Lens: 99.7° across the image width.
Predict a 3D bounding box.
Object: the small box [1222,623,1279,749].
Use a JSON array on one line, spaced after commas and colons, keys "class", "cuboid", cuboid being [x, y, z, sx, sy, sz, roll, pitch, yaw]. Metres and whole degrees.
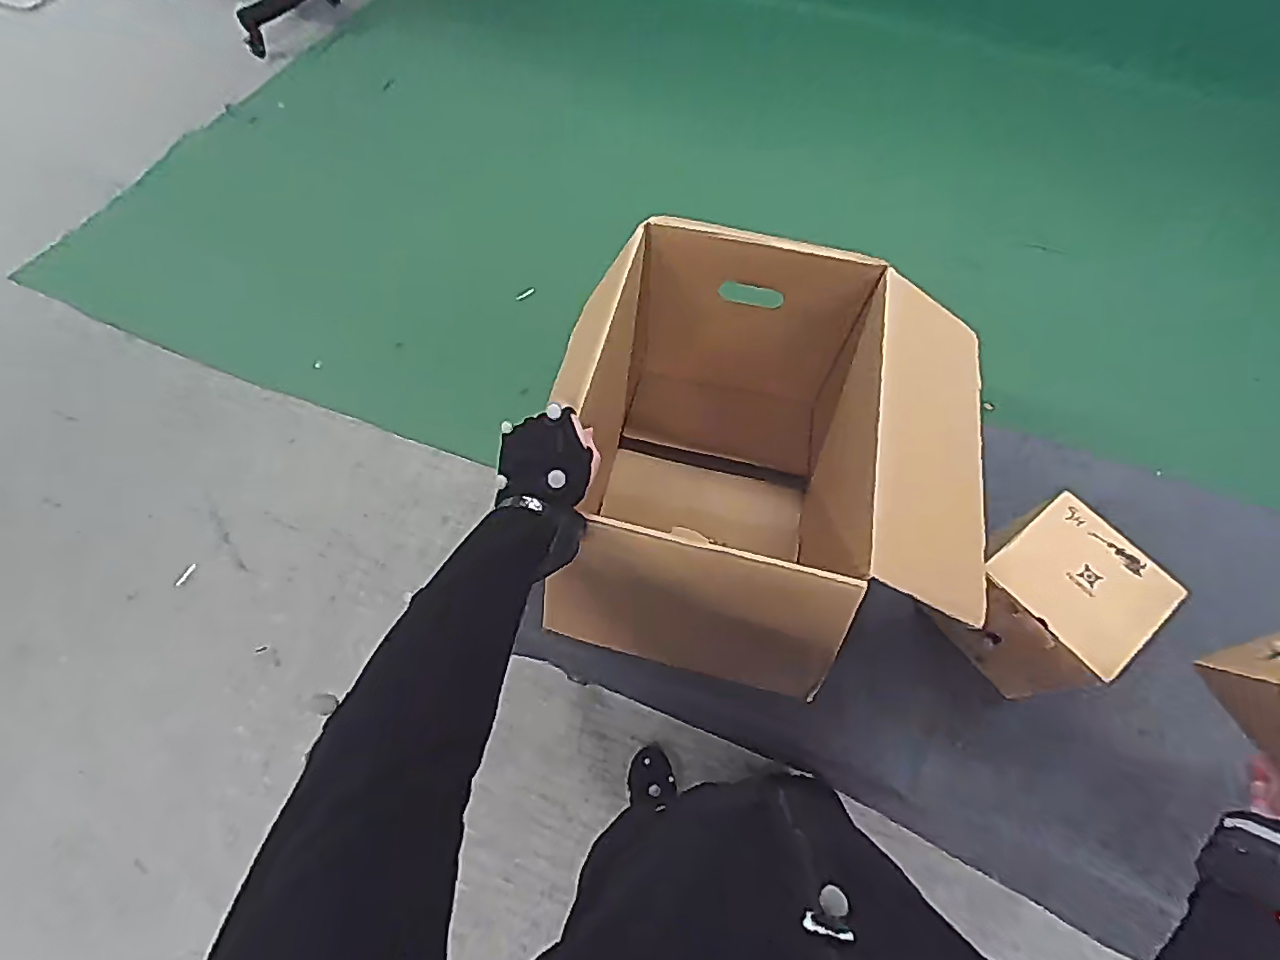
[{"class": "small box", "cuboid": [0.689, 0.207, 0.478, 0.179, 0.176, 0.168, -32, 68, 17]}]
